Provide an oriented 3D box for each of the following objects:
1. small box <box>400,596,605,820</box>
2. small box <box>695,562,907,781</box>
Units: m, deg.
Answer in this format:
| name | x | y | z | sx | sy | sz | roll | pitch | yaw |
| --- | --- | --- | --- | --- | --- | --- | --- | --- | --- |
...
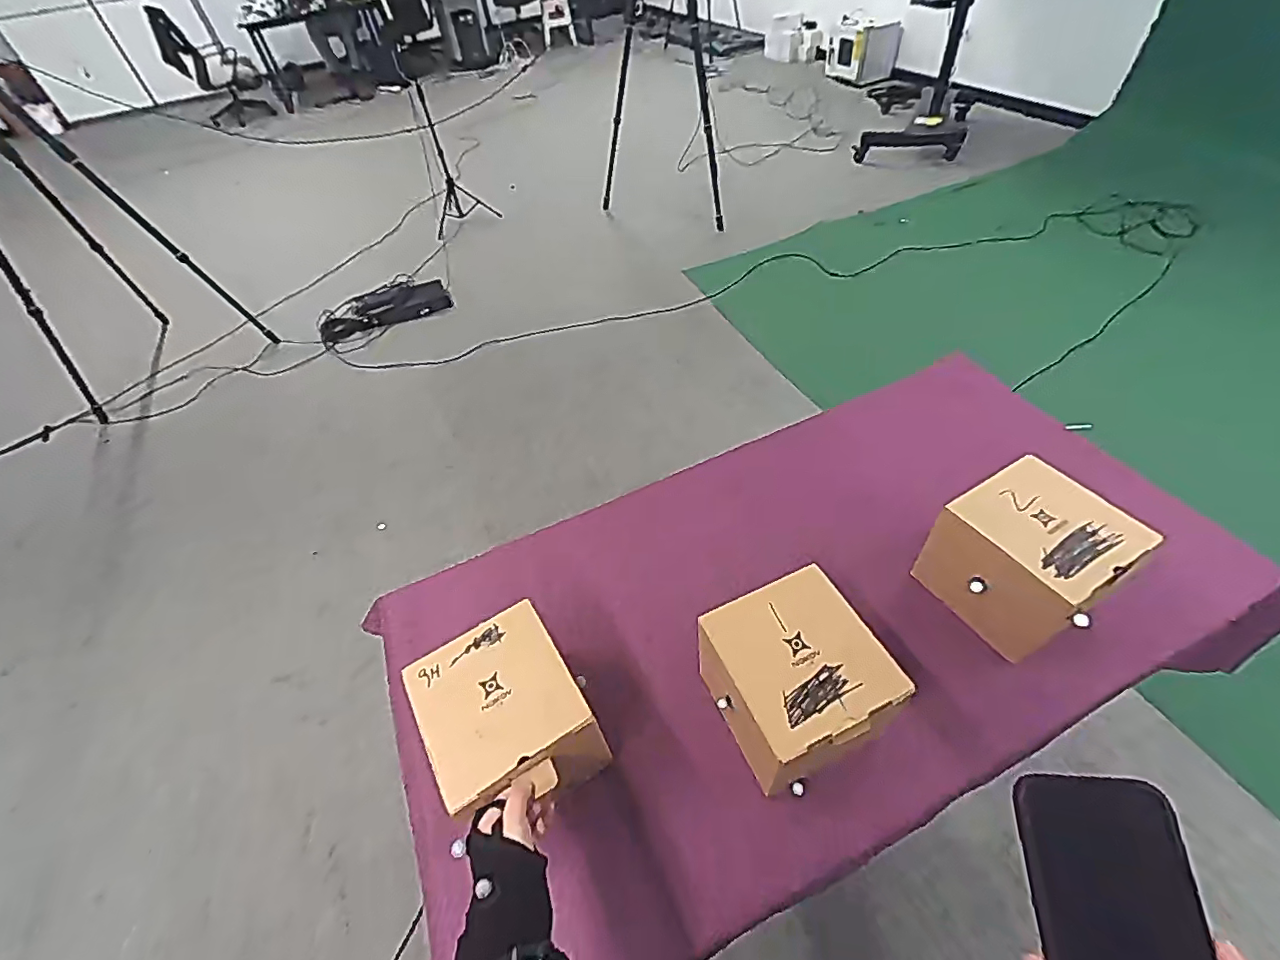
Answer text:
| name | x | y | z | sx | sy | sz | roll | pitch | yaw |
| --- | --- | --- | --- | --- | --- | --- | --- | --- | --- |
| small box | -0.158 | 0.283 | 0.661 | 0.168 | 0.176 | 0.179 | -28 | 52 | -17 |
| small box | 0.180 | 0.238 | 0.657 | 0.168 | 0.176 | 0.179 | -22 | 49 | -11 |
